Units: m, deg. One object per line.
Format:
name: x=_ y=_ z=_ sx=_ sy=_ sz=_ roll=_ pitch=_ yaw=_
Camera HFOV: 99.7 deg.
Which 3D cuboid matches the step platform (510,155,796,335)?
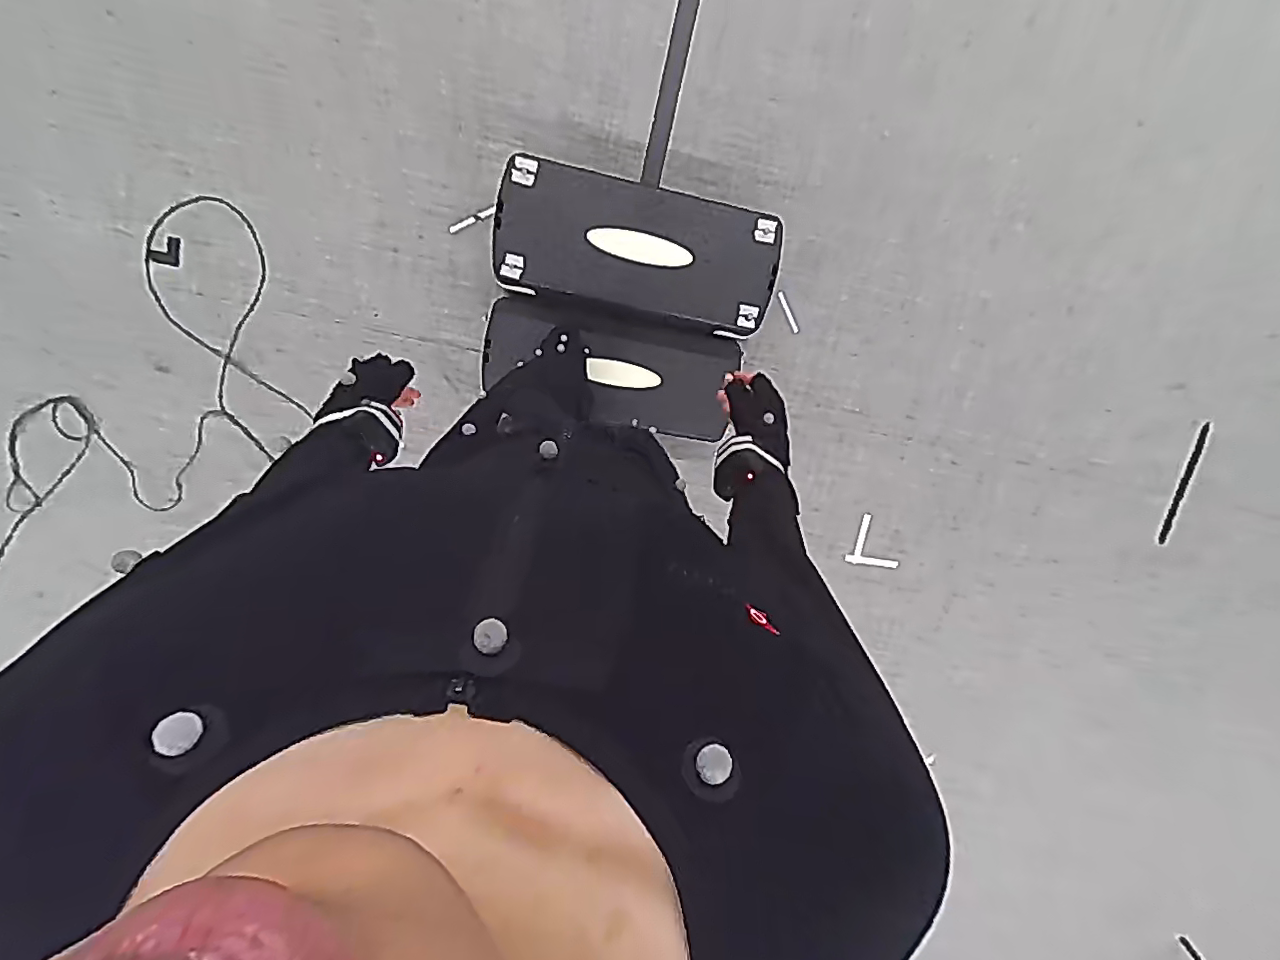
step platform: x=0.028 y=-0.563 z=1.337 sx=0.684 sy=0.204 sz=0.286 roll=9 pitch=102 yaw=-8
